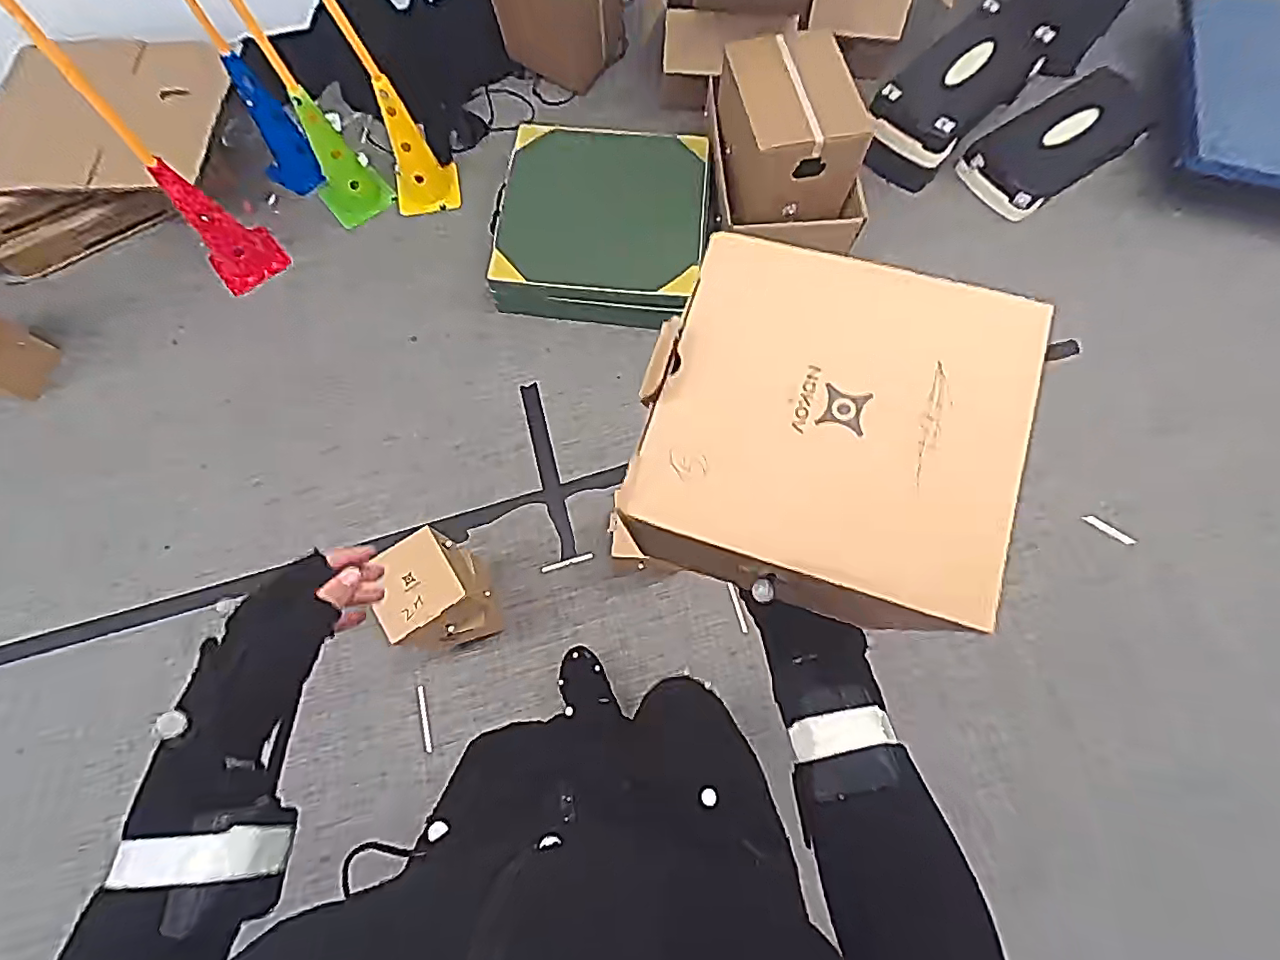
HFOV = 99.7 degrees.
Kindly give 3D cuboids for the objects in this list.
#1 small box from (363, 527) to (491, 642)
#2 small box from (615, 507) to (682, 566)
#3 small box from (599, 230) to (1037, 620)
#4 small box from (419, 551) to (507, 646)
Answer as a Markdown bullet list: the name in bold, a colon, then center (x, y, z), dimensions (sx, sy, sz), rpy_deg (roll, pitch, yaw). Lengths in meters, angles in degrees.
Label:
- **small box**: center (-0.442, 0.227, 1.145), dimensions (0.168, 0.176, 0.179), rpy_deg (-30, 76, -7)
- **small box**: center (0.030, 0.121, 1.349), dimensions (0.179, 0.176, 0.168), rpy_deg (0, 71, -1)
- **small box**: center (0.095, -0.017, 0.340), dimensions (0.179, 0.176, 0.168), rpy_deg (18, 79, 10)
- **small box**: center (-0.432, 0.288, 1.298), dimensions (0.168, 0.176, 0.179), rpy_deg (-17, 72, -5)
